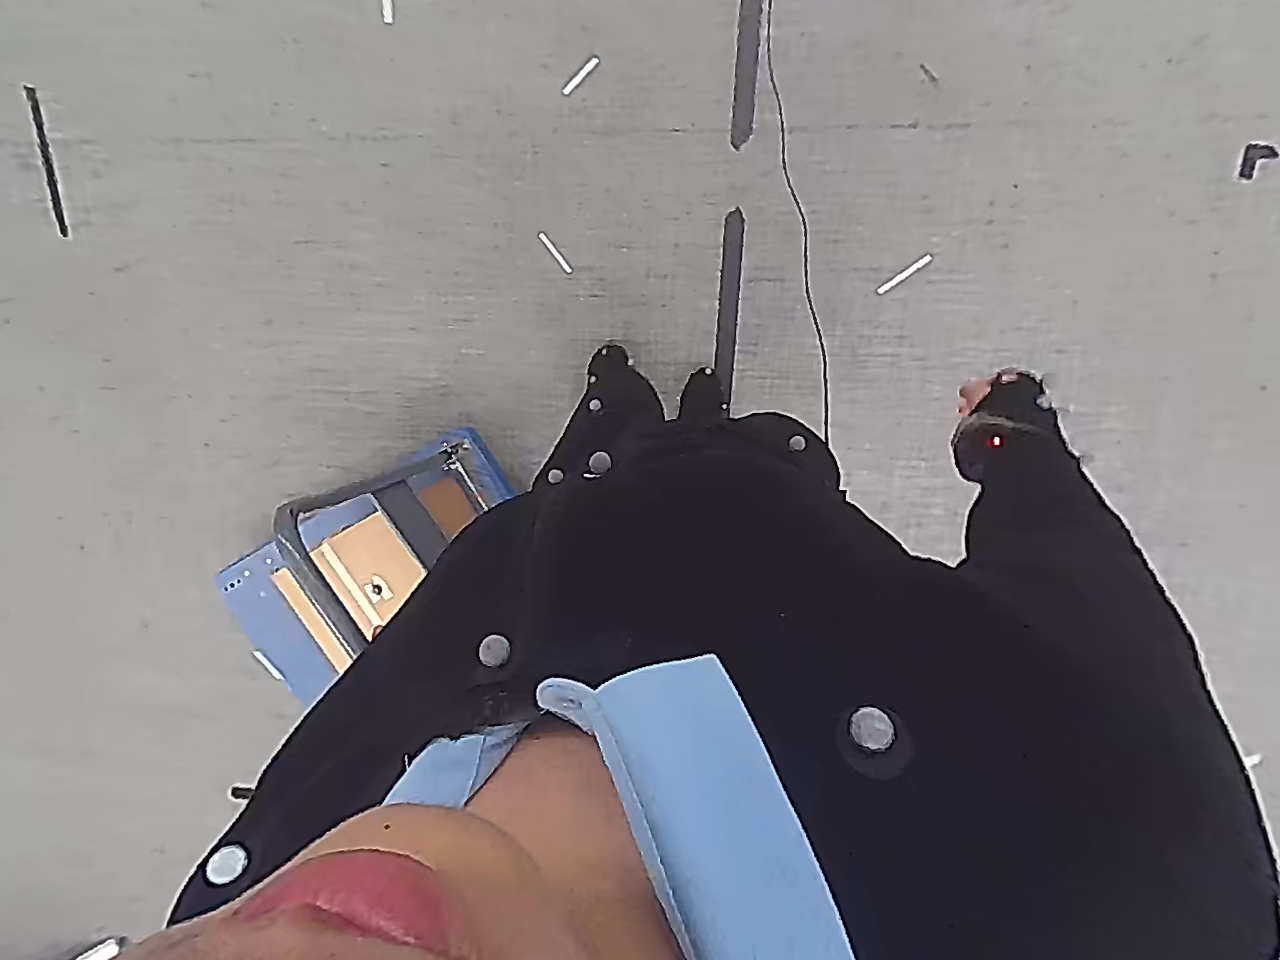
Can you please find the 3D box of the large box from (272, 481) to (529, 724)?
[{"bbox_3d":[-0.526,0.268,1.270,0.320,0.320,0.408,-28,98,10],"label":"large box"}]
